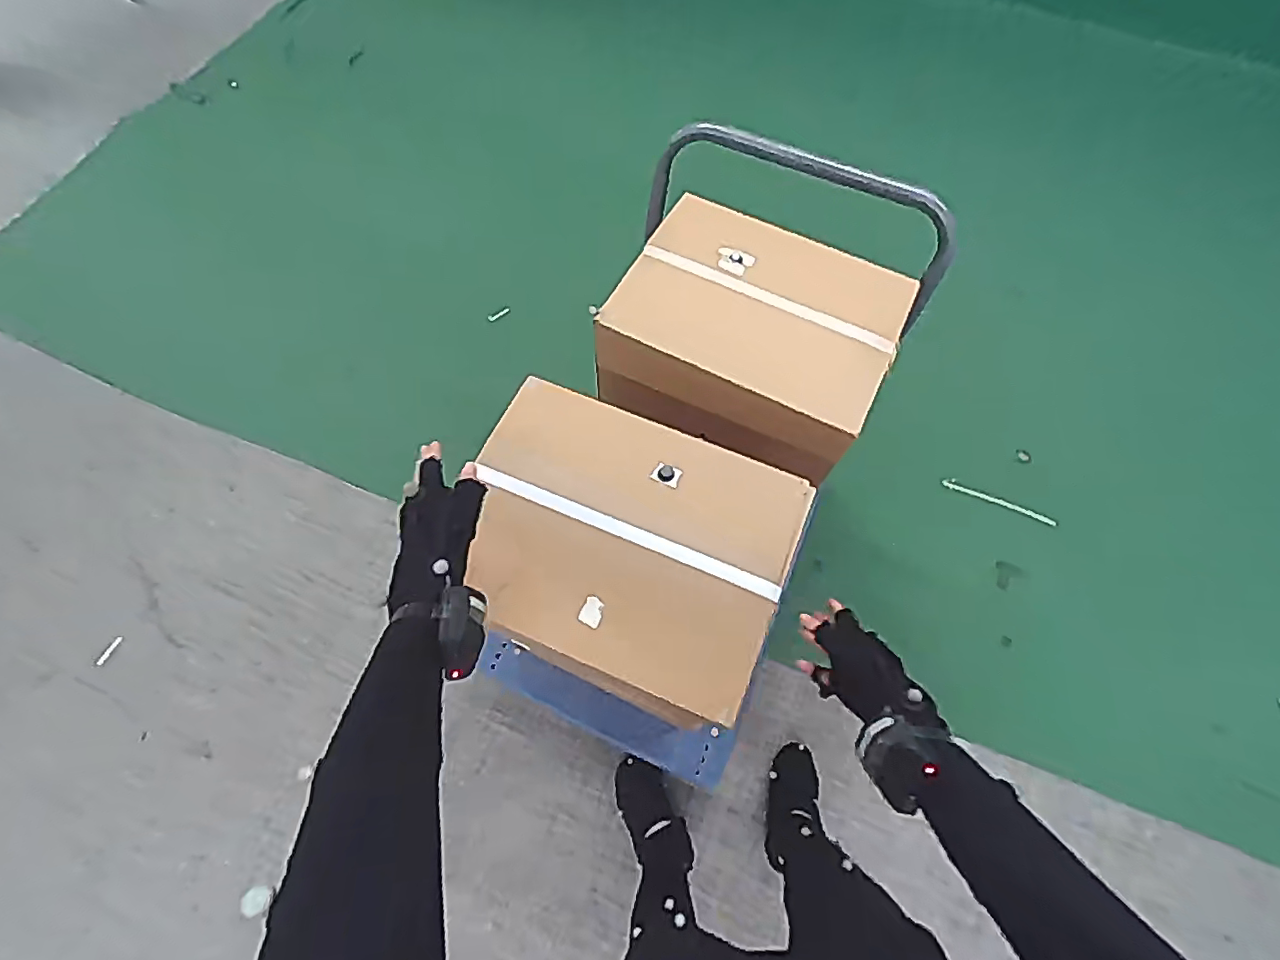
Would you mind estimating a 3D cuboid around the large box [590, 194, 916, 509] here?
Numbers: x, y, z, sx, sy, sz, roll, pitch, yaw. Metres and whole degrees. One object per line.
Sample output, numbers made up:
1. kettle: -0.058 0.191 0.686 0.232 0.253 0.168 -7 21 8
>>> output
1. large box: 0.174 -0.205 0.930 0.408 0.320 0.320 26 68 11
